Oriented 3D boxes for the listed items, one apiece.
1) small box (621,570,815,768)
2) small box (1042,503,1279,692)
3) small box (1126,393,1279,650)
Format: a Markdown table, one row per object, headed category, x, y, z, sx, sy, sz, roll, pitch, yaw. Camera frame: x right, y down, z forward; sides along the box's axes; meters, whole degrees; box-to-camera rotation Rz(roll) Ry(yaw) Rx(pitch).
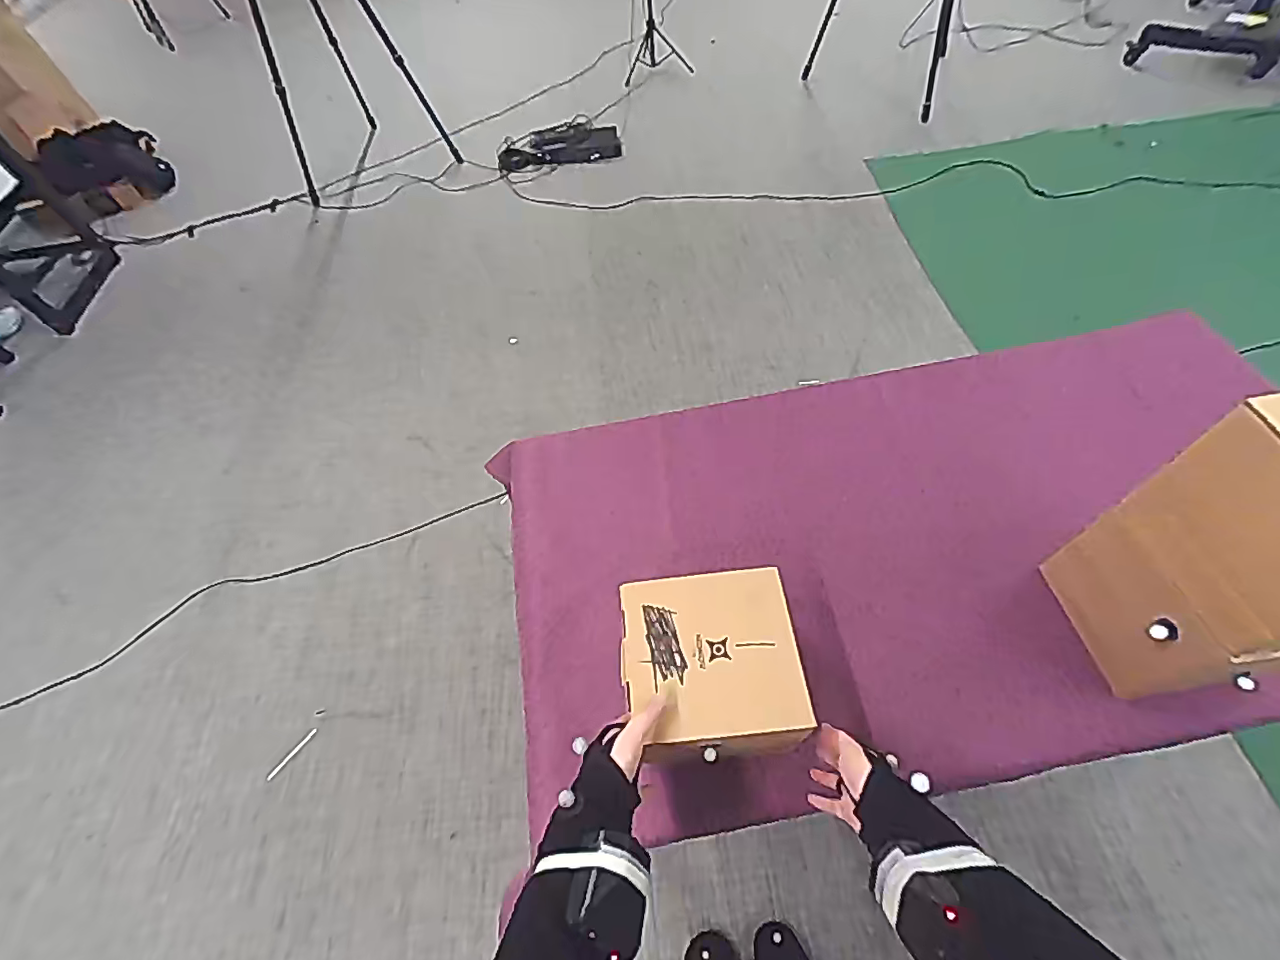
| category | x | y | z | sx | sy | sz | roll | pitch | yaw |
| --- | --- | --- | --- | --- | --- | --- | --- | --- | --- |
| small box | 0.078 | 0.220 | 0.612 | 0.179 | 0.176 | 0.168 | -6 | 56 | 0 |
| small box | 0.618 | 0.130 | 0.614 | 0.168 | 0.176 | 0.179 | -9 | 56 | -1 |
| small box | 0.608 | 0.033 | 0.483 | 0.168 | 0.176 | 0.179 | -9 | 57 | 0 |
